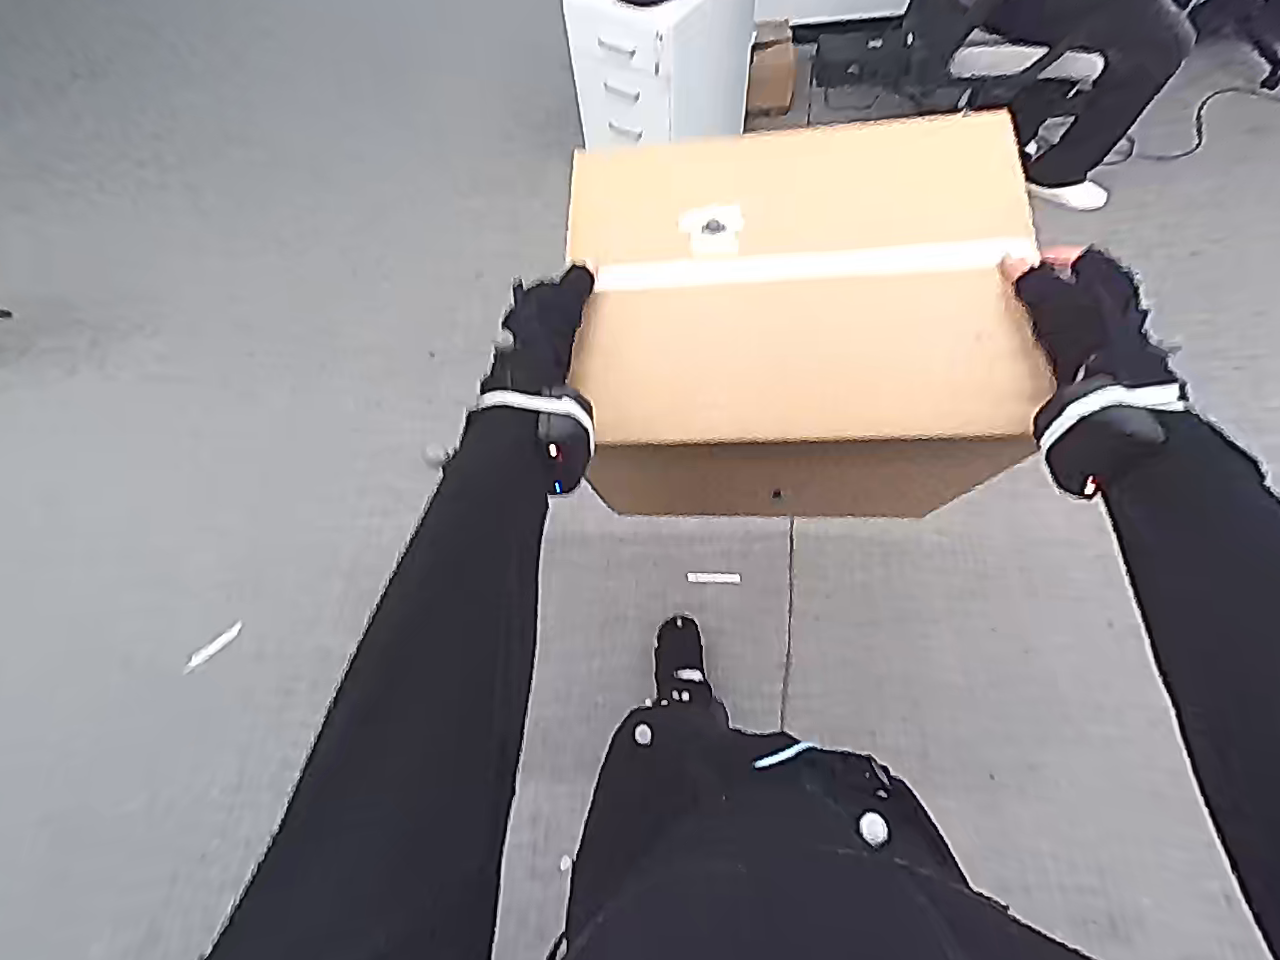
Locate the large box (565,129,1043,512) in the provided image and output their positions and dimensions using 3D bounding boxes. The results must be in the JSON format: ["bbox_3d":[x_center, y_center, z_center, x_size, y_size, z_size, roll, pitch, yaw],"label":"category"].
[{"bbox_3d":[0.156,-0.141,0.641,0.408,0.320,0.320,0,73,9],"label":"large box"}]
